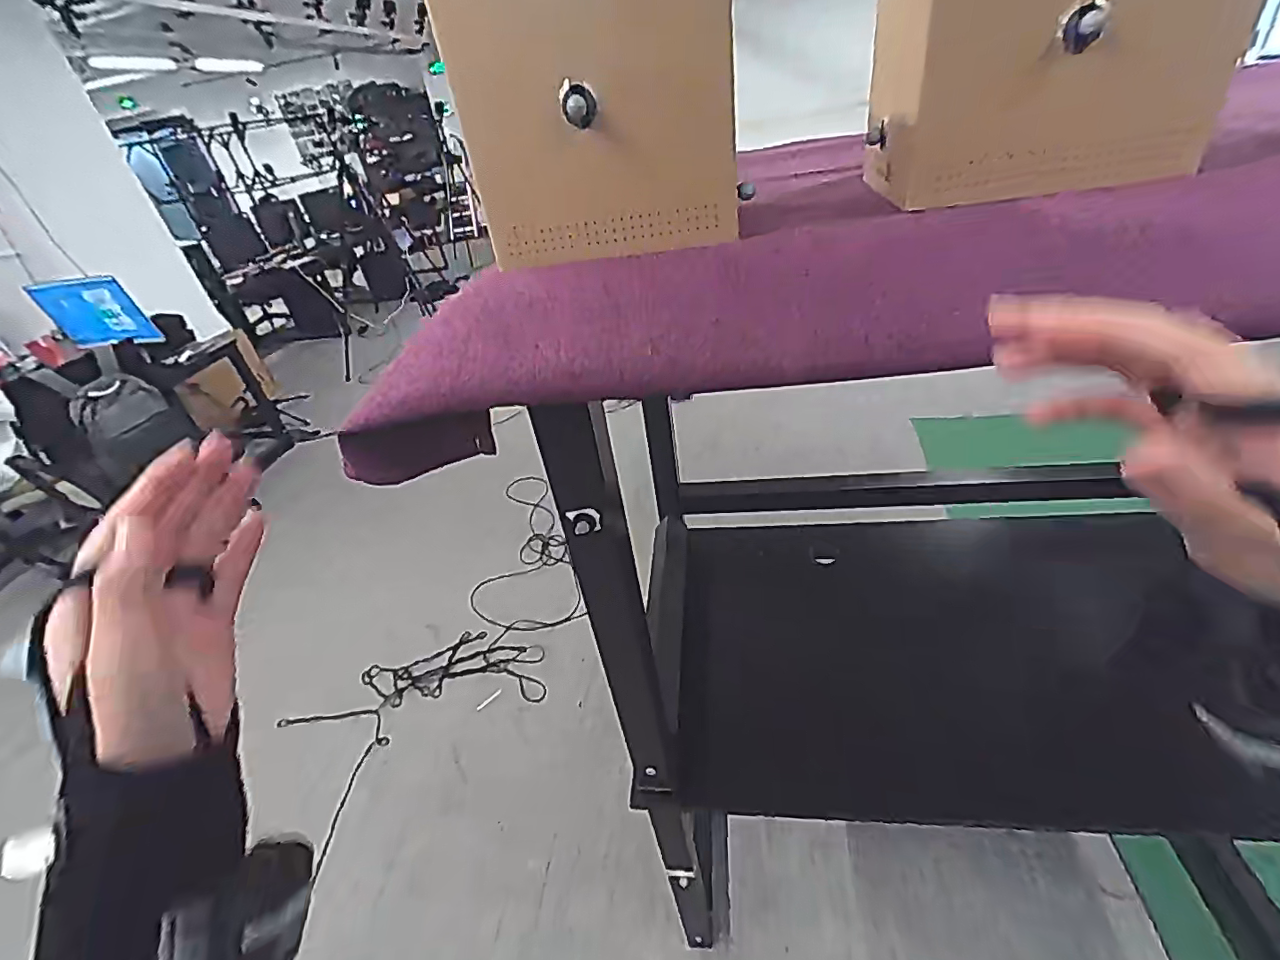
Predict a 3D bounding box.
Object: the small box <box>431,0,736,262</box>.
[{"bbox_3d":[-0.021,-0.275,0.398,0.179,0.176,0.168,-5,35,7],"label":"small box"}]
